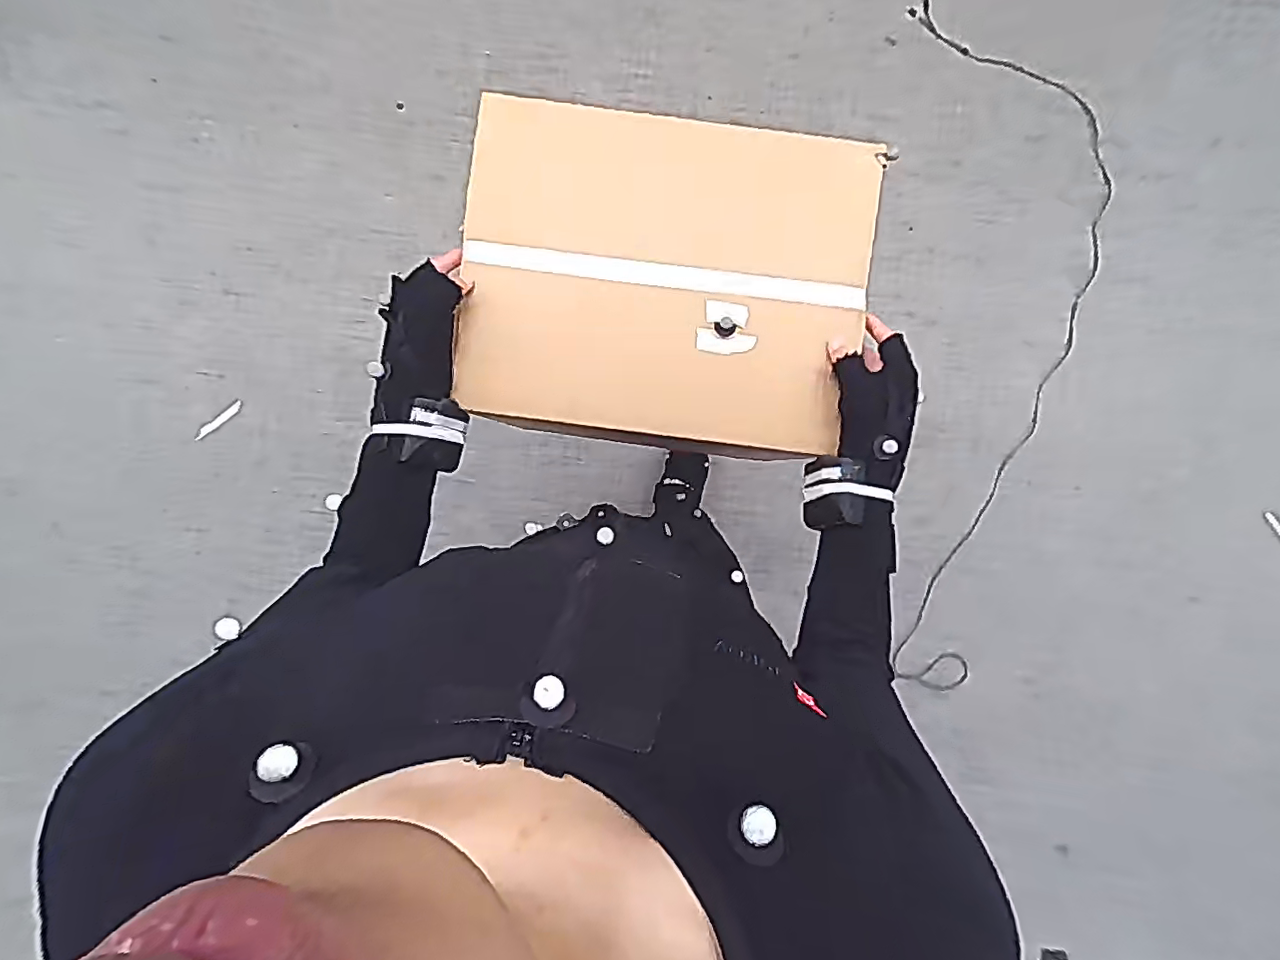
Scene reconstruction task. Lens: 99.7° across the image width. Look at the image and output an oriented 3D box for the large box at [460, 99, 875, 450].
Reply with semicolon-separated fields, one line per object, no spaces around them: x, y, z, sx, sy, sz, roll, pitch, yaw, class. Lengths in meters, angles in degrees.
0.025;-0.218;0.700;0.408;0.320;0.320;7;92;0;large box
